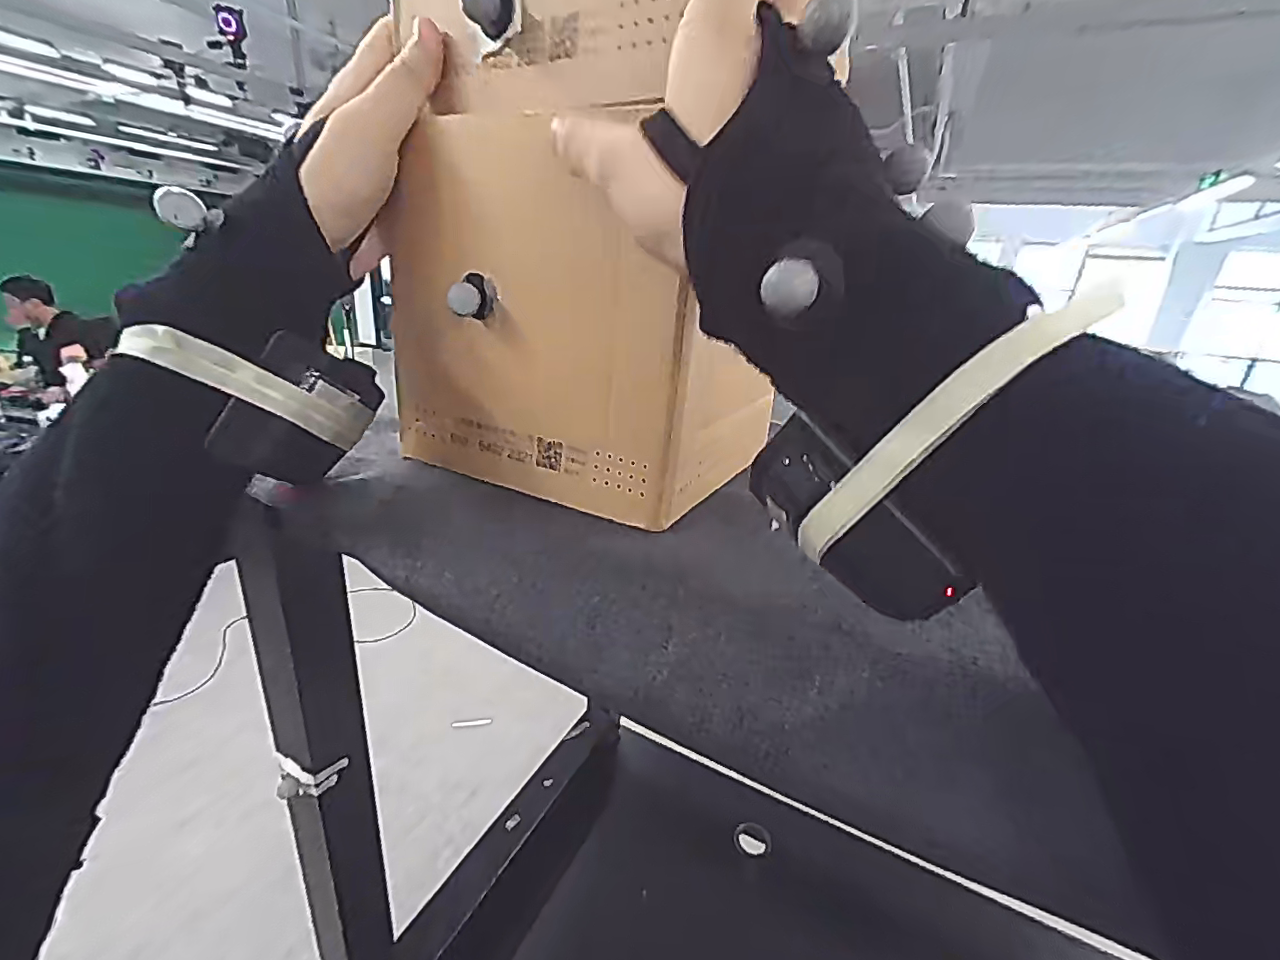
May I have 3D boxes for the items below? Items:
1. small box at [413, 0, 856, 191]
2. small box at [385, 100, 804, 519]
[{"bbox_3d":[0.005,-0.243,0.269,0.168,0.176,0.179,15,21,29],"label":"small box"},{"bbox_3d":[-0.016,-0.090,0.317,0.168,0.176,0.179,14,20,24],"label":"small box"}]
